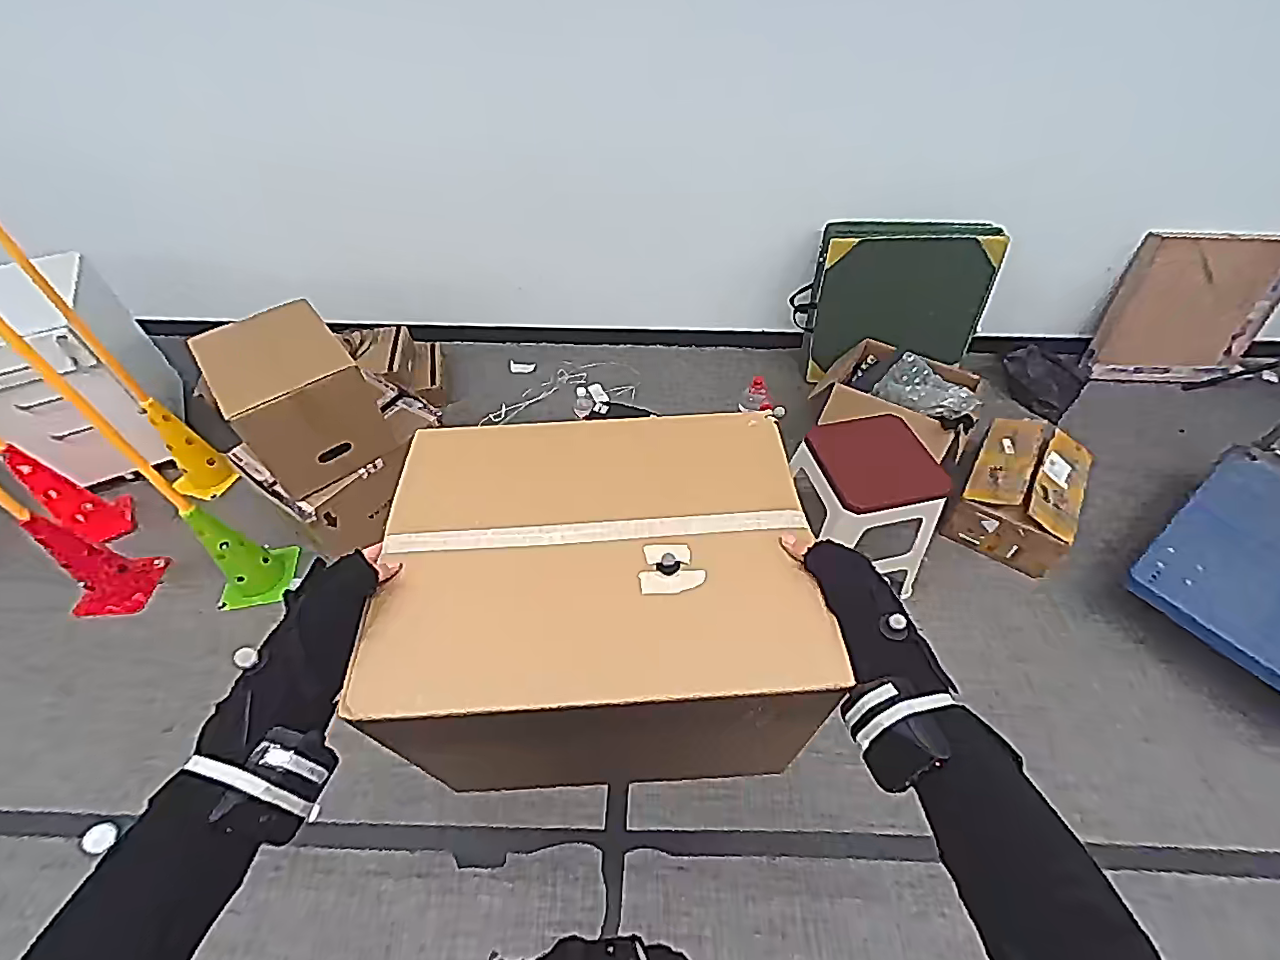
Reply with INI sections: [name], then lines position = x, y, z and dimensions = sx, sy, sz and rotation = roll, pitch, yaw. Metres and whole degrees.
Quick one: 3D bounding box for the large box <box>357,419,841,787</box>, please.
[large box]
position = -0.038, 0.151, 0.645
dimensions = 0.408, 0.320, 0.320
rotation = -3, 51, -1
